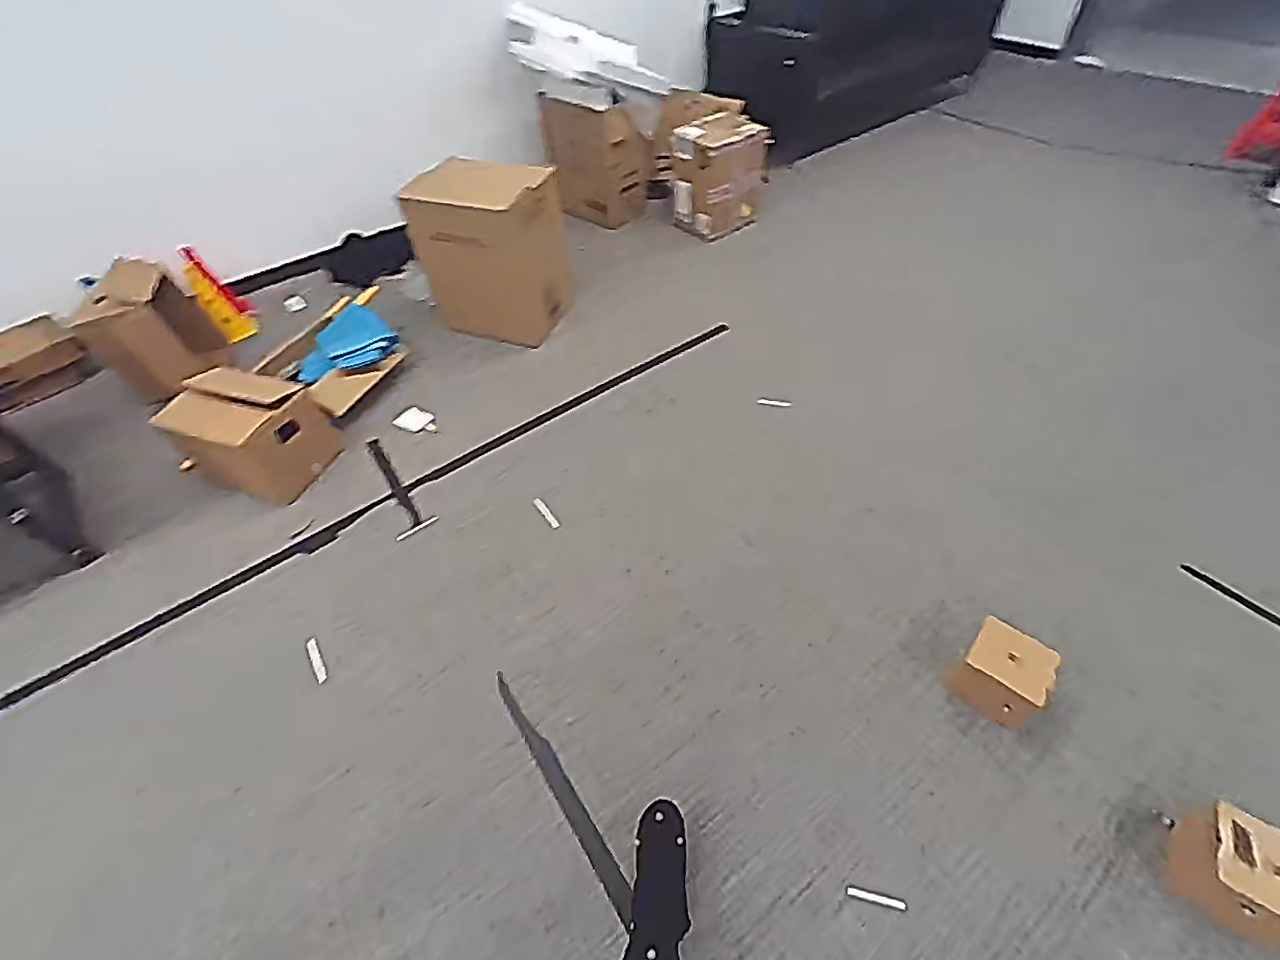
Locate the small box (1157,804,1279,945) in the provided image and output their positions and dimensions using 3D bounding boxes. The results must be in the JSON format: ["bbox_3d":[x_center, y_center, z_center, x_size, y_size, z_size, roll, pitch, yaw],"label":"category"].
[{"bbox_3d":[1.215,0.810,1.105,0.179,0.176,0.168,27,56,23],"label":"small box"}]

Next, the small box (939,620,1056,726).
[{"bbox_3d":[0.910,0.502,1.388,0.179,0.176,0.168,31,57,27],"label":"small box"}]
